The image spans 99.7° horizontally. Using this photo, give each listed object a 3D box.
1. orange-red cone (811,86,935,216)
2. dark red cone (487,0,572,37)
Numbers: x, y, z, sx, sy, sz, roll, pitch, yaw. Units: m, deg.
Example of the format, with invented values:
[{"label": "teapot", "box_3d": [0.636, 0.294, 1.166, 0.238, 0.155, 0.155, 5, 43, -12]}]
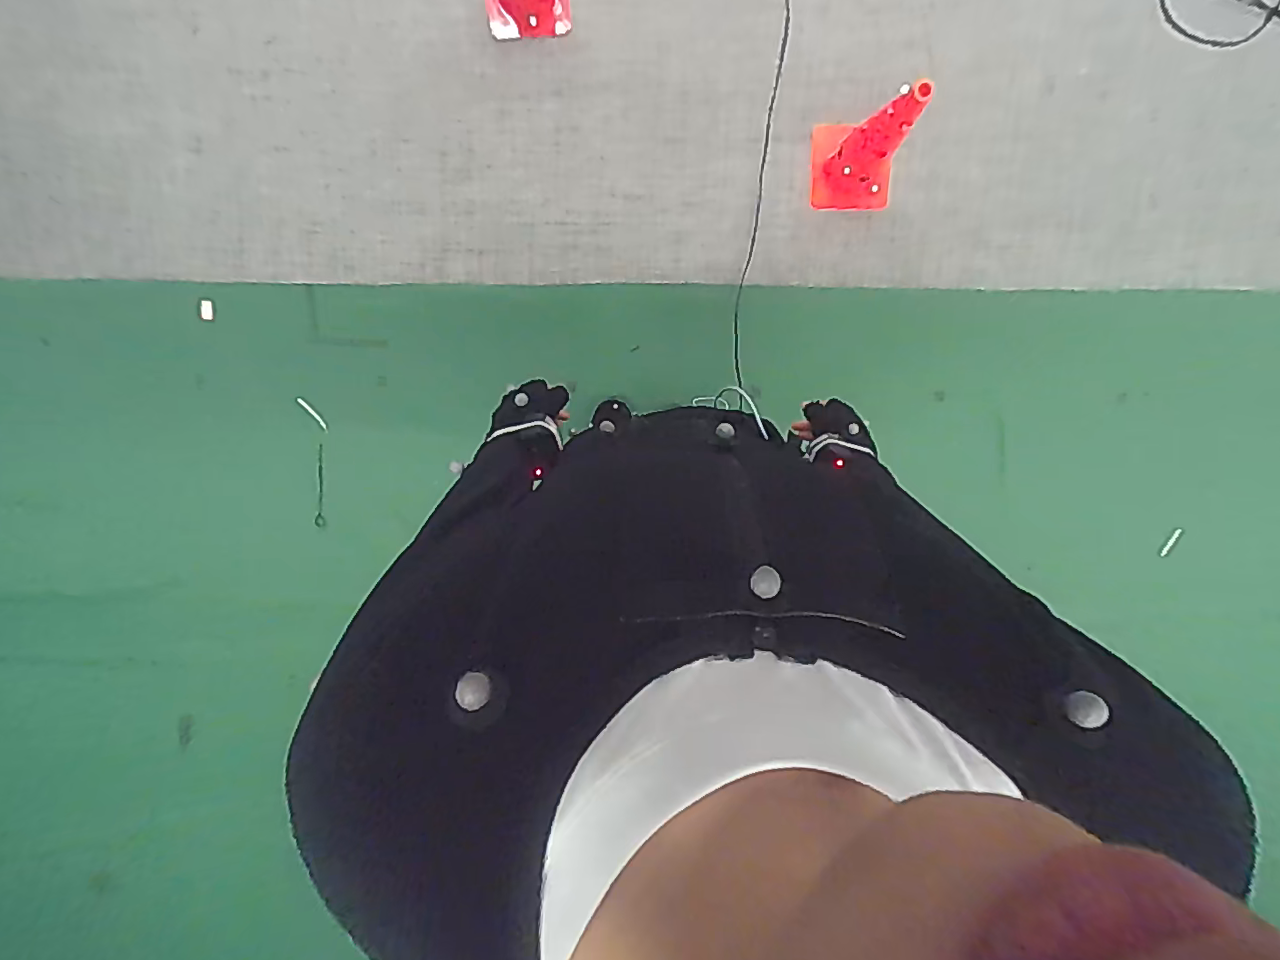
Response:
[{"label": "orange-red cone", "box_3d": [0.536, -0.754, 1.197, 0.198, 0.360, 0.199, 1, 97, -1]}, {"label": "dark red cone", "box_3d": [-0.266, -1.138, 1.119, 0.202, 0.394, 0.201, -5, 99, 1]}]
